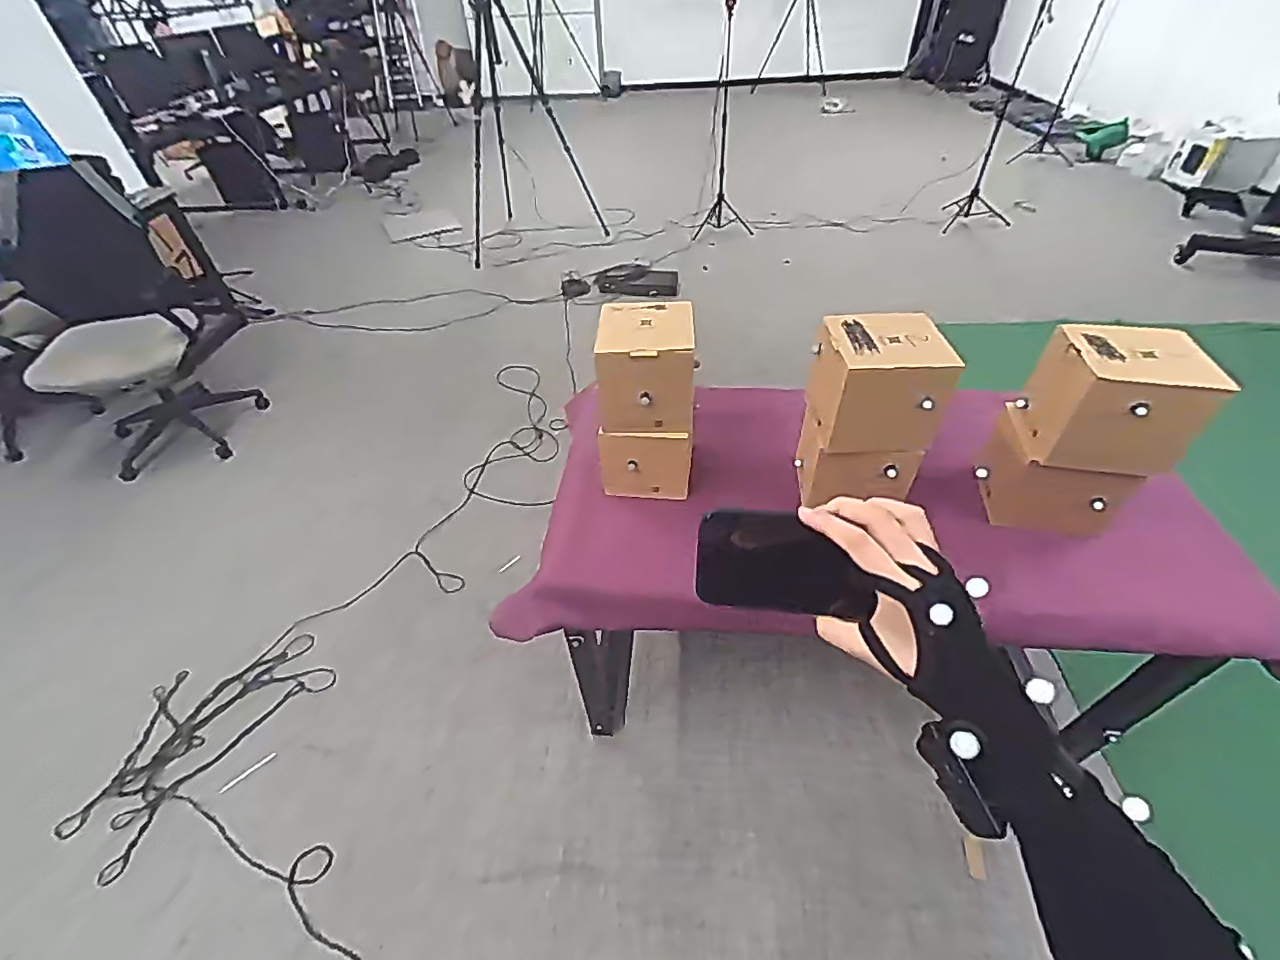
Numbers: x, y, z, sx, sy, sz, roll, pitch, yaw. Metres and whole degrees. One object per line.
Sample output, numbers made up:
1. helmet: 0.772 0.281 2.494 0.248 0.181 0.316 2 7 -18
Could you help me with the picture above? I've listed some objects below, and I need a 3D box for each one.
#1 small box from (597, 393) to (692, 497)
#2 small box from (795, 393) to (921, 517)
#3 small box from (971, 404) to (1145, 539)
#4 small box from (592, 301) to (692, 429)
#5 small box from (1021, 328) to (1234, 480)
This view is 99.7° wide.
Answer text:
1. small box: 0.017 -0.083 1.092 0.168 0.176 0.179 4 45 8
2. small box: 0.401 -0.045 1.028 0.179 0.176 0.168 3 45 7
3. small box: 0.736 -0.013 0.977 0.179 0.176 0.168 8 45 12
4. small box: 0.011 -0.206 0.983 0.168 0.176 0.179 1 45 3
5. small box: 0.736 -0.119 0.851 0.179 0.176 0.168 8 45 11
